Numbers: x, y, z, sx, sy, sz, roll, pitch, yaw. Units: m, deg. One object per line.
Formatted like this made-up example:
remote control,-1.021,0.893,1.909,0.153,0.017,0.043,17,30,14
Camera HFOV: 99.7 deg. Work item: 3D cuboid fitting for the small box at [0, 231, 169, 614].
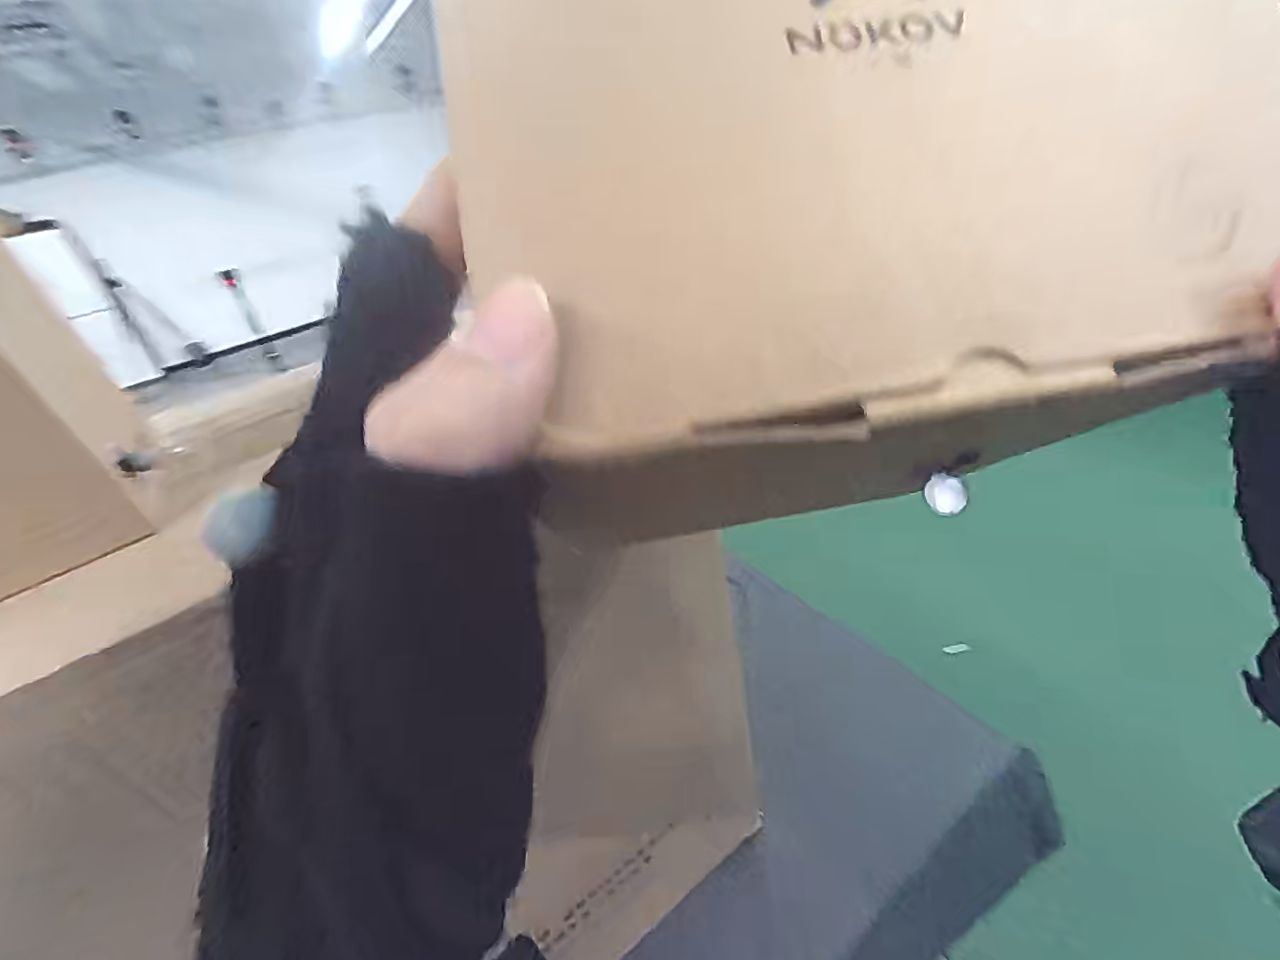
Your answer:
small box,-0.391,-0.020,0.278,0.179,0.176,0.168,-32,39,-24
